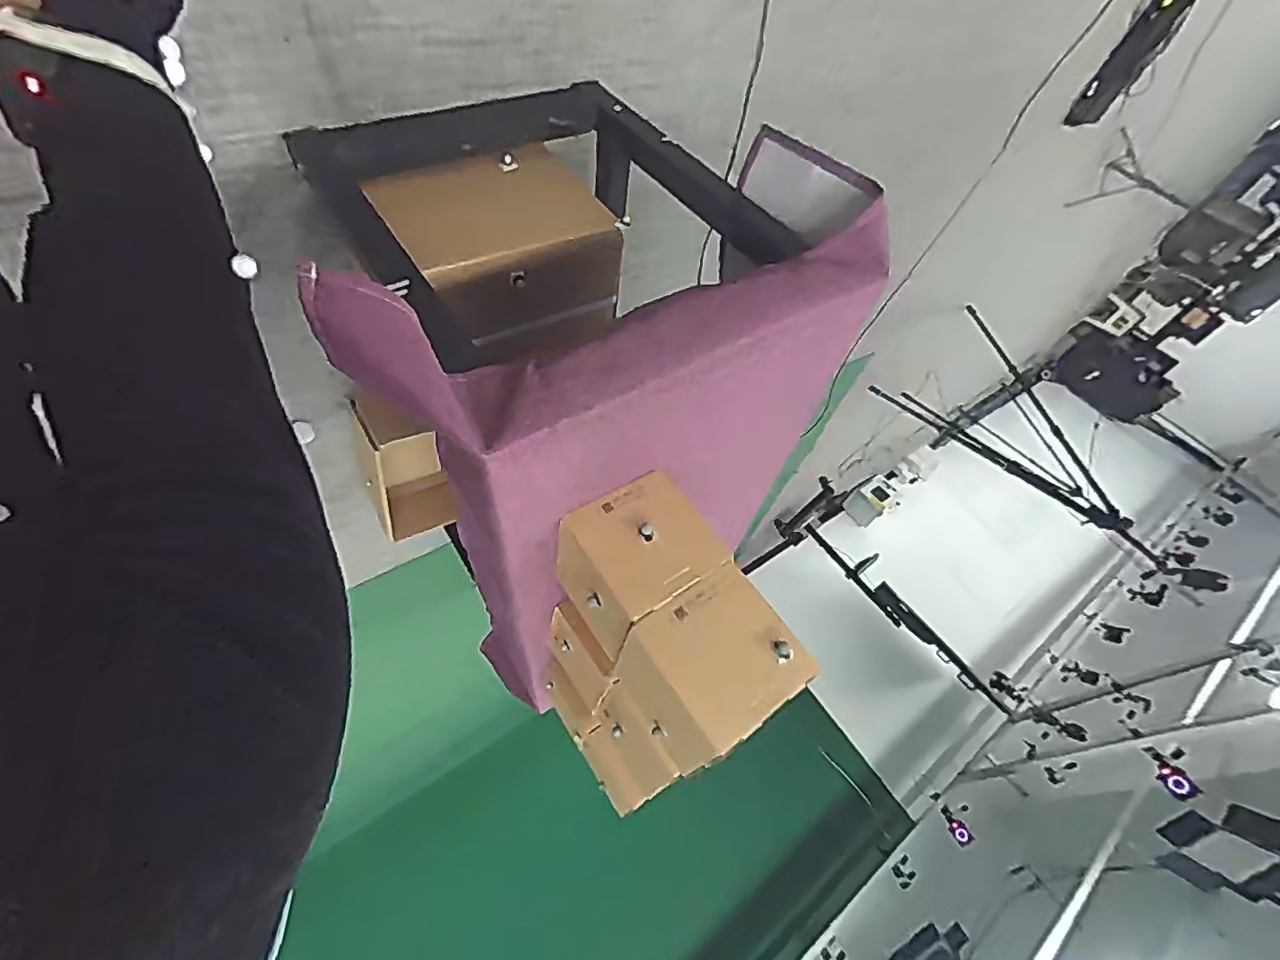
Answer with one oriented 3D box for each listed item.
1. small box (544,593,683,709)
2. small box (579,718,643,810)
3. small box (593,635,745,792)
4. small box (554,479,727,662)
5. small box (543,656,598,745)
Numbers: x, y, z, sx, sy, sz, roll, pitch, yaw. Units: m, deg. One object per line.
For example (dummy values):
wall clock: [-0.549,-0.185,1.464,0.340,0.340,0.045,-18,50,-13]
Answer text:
small box: [-0.055,0.286,1.008,0.179,0.176,0.168,-23,152,-30]
small box: [-0.020,0.594,1.199,0.168,0.176,0.179,-26,153,-28]
small box: [0.044,0.403,0.947,0.179,0.176,0.168,-22,151,-31]
small box: [-0.010,0.119,0.766,0.168,0.176,0.179,-25,153,-26]
small box: [-0.114,0.476,1.260,0.179,0.176,0.168,-26,154,-27]
